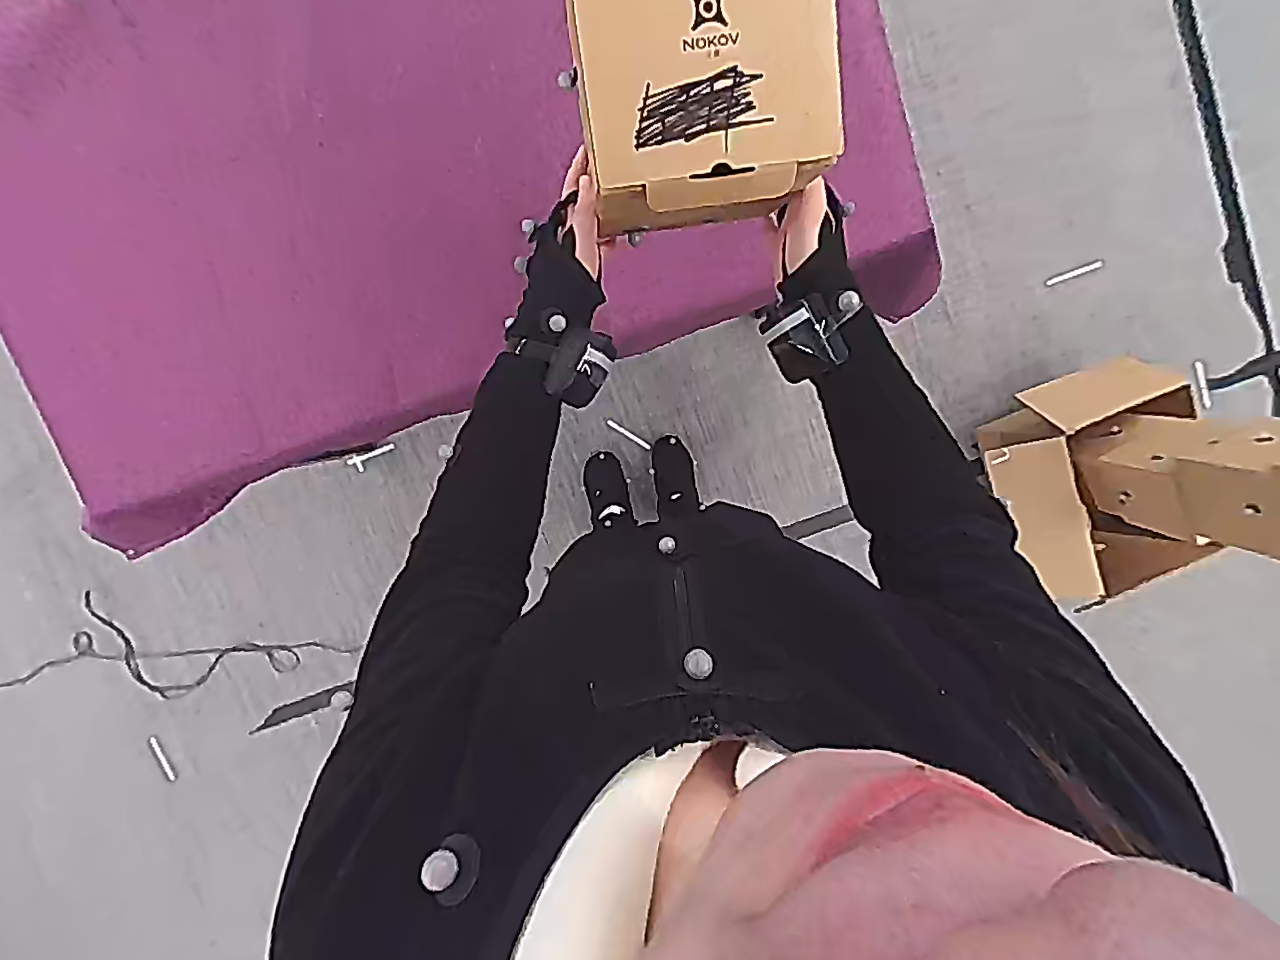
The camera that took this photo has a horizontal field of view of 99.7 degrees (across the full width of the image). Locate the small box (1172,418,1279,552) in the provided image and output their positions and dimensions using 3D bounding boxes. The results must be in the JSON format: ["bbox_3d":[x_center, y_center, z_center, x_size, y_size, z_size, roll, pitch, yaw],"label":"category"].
[{"bbox_3d":[1.082,0.003,0.927,0.168,0.176,0.179,-27,100,6],"label":"small box"}]

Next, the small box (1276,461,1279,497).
[{"bbox_3d":[1.074,0.019,0.764,0.179,0.176,0.168,-26,101,5],"label":"small box"}]

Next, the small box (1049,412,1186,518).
[{"bbox_3d":[1.112,-0.042,1.253,0.168,0.176,0.179,-41,100,7],"label":"small box"}]

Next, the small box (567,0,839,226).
[{"bbox_3d":[0.036,-0.302,0.409,0.168,0.176,0.179,-8,105,-2],"label":"small box"}]
